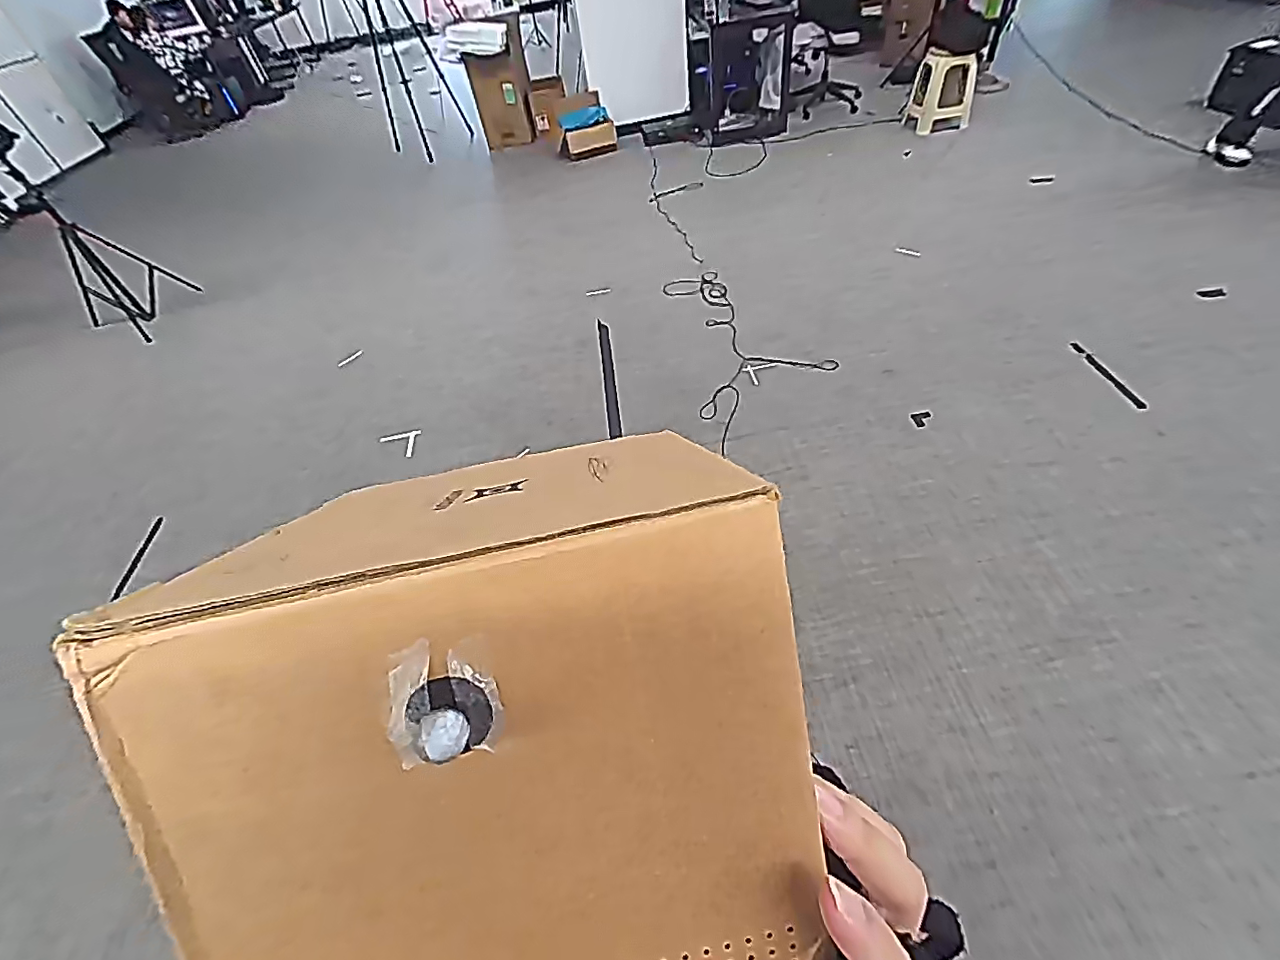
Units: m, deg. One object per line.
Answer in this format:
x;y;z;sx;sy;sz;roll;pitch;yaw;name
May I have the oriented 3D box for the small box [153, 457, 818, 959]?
-0.041;0.096;0.242;0.179;0.176;0.168;-11;11;-4;small box
